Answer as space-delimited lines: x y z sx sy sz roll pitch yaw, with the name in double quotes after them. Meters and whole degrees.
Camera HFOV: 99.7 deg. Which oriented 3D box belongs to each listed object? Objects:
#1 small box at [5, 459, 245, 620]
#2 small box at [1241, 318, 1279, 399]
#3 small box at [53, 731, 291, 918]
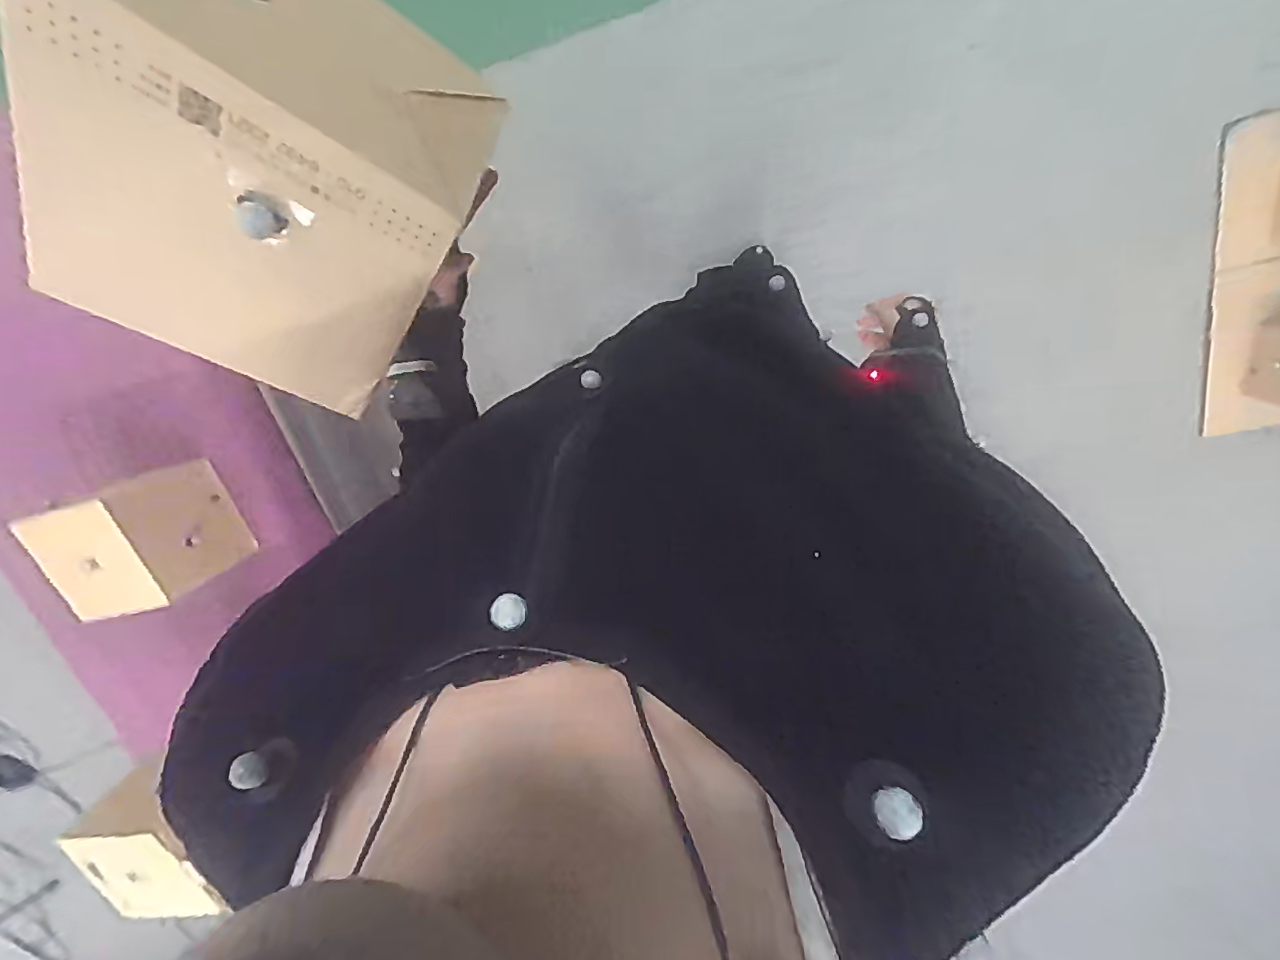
-0.746 0.082 0.812 0.179 0.176 0.168 -13 110 14 "small box"
1.487 -0.264 1.171 0.179 0.176 0.168 -6 112 9 "small box"
-0.656 0.494 0.790 0.179 0.176 0.168 -12 110 11 "small box"
